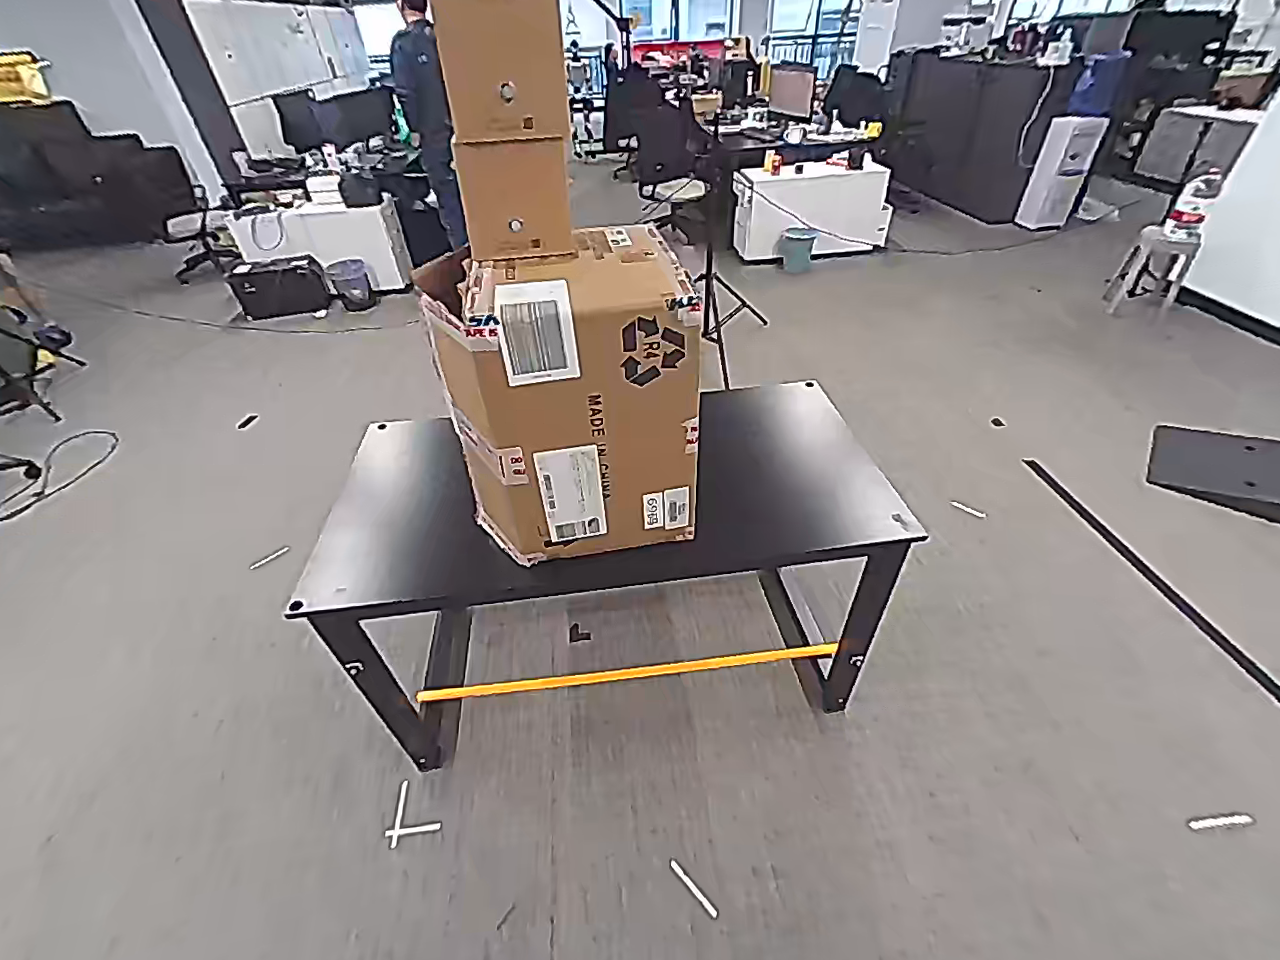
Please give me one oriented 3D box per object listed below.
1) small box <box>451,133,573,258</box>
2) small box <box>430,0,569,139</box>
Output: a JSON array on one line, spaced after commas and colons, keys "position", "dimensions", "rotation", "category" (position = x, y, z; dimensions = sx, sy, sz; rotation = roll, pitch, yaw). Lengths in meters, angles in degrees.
[{"position": [-0.207, -0.481, 0.901], "dimensions": [0.168, 0.176, 0.179], "rotation": [-9, 39, -9], "category": "small box"}, {"position": [-0.203, -0.607, 0.793], "dimensions": [0.168, 0.176, 0.179], "rotation": [-10, 39, -10], "category": "small box"}]
